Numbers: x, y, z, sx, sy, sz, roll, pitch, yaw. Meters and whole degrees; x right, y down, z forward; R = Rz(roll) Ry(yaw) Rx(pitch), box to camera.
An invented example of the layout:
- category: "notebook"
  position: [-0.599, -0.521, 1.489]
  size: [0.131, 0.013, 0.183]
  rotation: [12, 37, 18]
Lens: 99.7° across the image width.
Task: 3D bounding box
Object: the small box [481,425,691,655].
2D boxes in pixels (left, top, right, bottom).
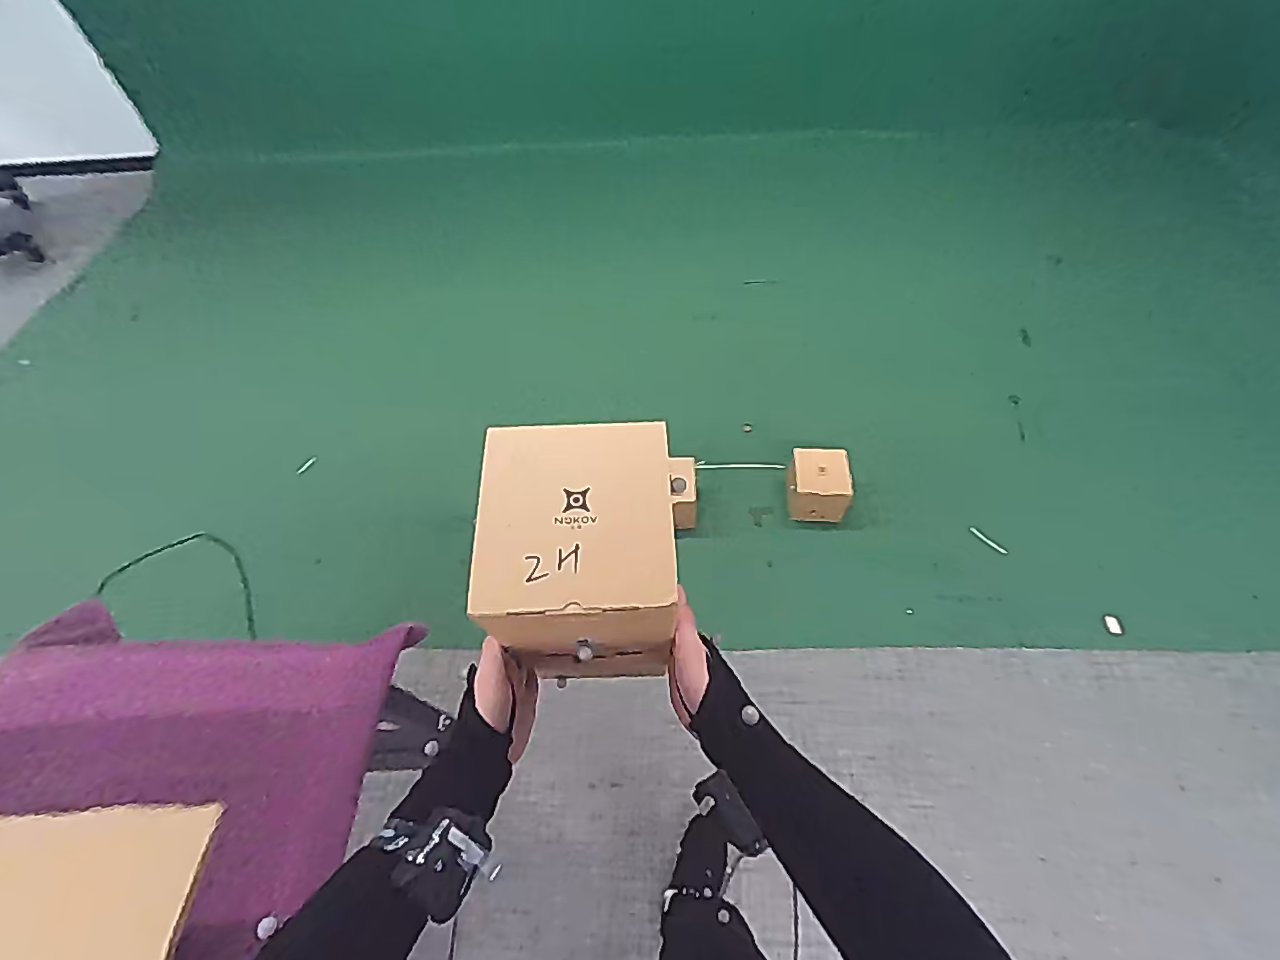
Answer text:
- category: "small box"
  position: [-0.043, 0.064, 0.526]
  size: [0.168, 0.176, 0.179]
  rotation: [-1, 62, 0]

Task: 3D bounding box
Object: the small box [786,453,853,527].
- category: "small box"
  position: [0.579, 0.034, 1.765]
  size: [0.168, 0.176, 0.179]
  rotation: [2, 56, 5]

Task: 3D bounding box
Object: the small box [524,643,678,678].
- category: "small box"
  position: [-0.040, 0.145, 0.669]
  size: [0.168, 0.176, 0.179]
  rotation: [-1, 61, 0]
